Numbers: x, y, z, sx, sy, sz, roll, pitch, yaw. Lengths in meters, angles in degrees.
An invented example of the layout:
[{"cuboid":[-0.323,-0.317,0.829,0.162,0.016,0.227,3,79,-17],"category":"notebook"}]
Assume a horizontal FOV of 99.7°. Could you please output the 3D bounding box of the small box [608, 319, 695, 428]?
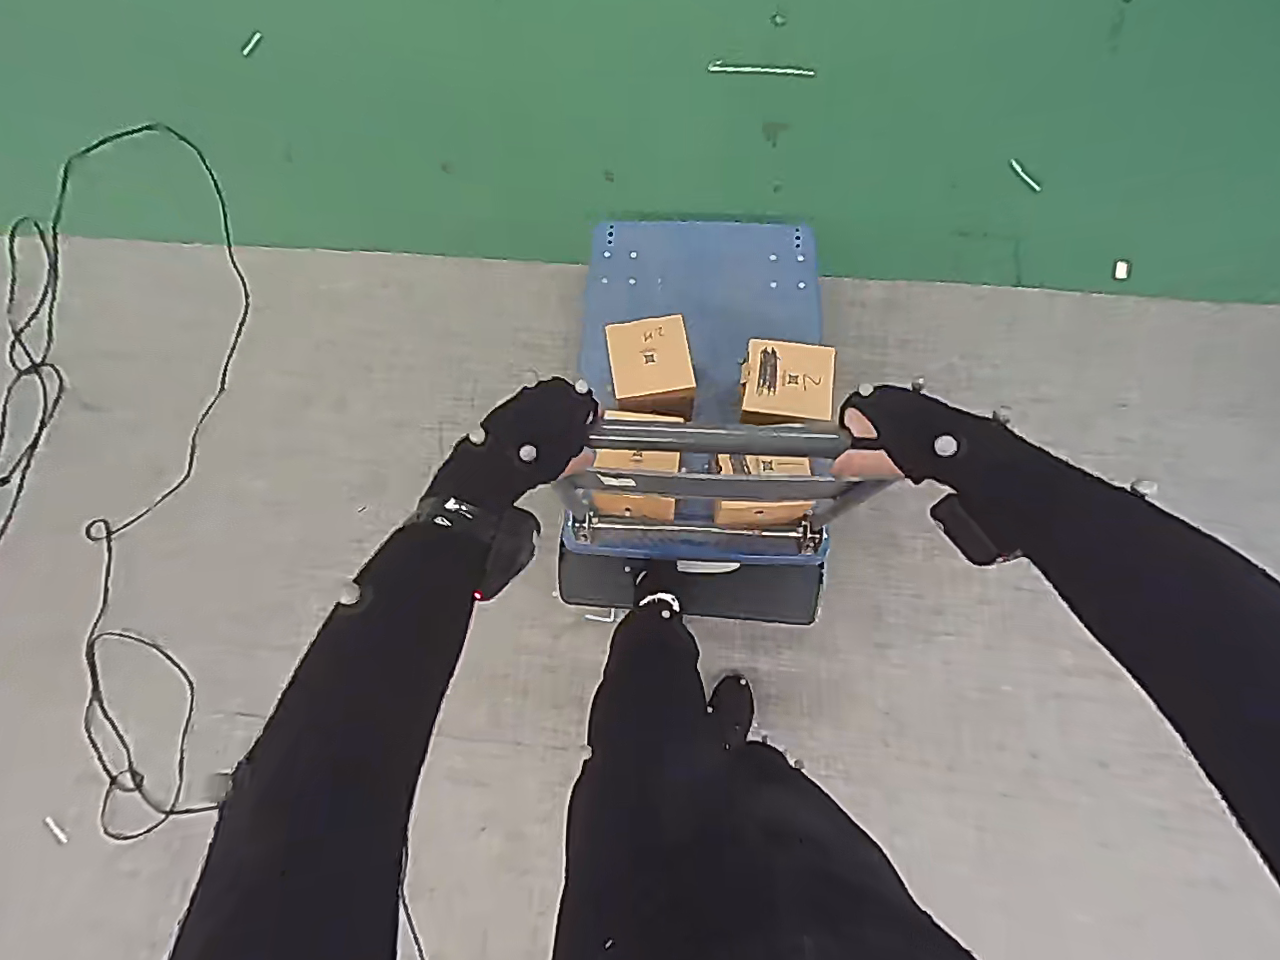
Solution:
[{"cuboid":[0.026,-0.223,1.189,0.168,0.176,0.179,-8,72,-1],"category":"small box"}]
